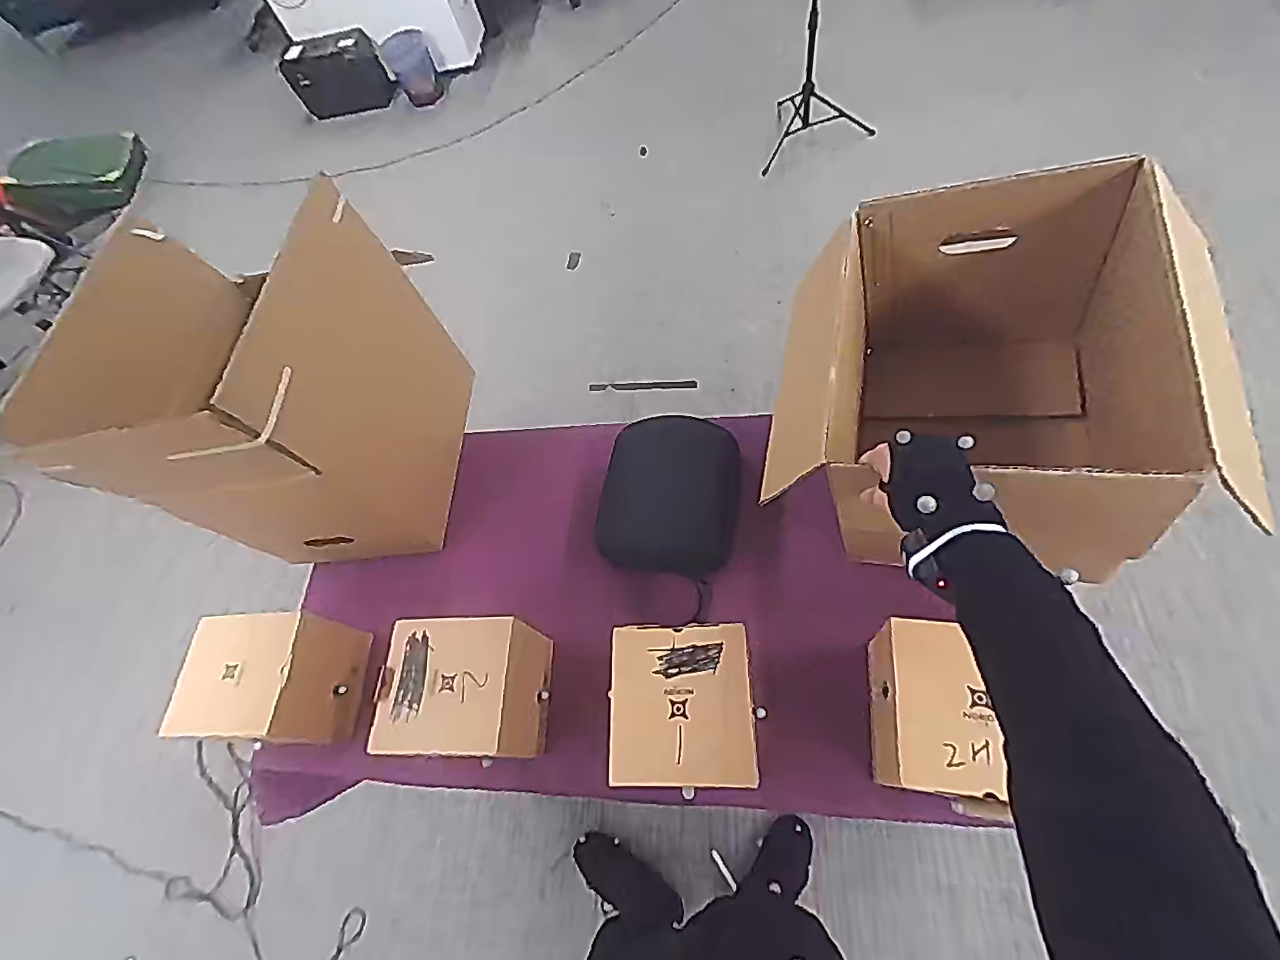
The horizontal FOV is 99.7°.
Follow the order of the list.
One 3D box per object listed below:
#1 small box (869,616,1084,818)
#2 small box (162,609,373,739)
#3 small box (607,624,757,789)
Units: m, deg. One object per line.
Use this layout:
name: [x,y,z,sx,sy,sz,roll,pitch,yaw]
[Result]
small box: [0.369,0.274,0.633,0.168,0.176,0.179,2,63,15]
small box: [-0.553,0.302,0.829,0.179,0.176,0.168,-5,62,9]
small box: [0.061,0.291,0.695,0.168,0.176,0.179,-5,63,11]
